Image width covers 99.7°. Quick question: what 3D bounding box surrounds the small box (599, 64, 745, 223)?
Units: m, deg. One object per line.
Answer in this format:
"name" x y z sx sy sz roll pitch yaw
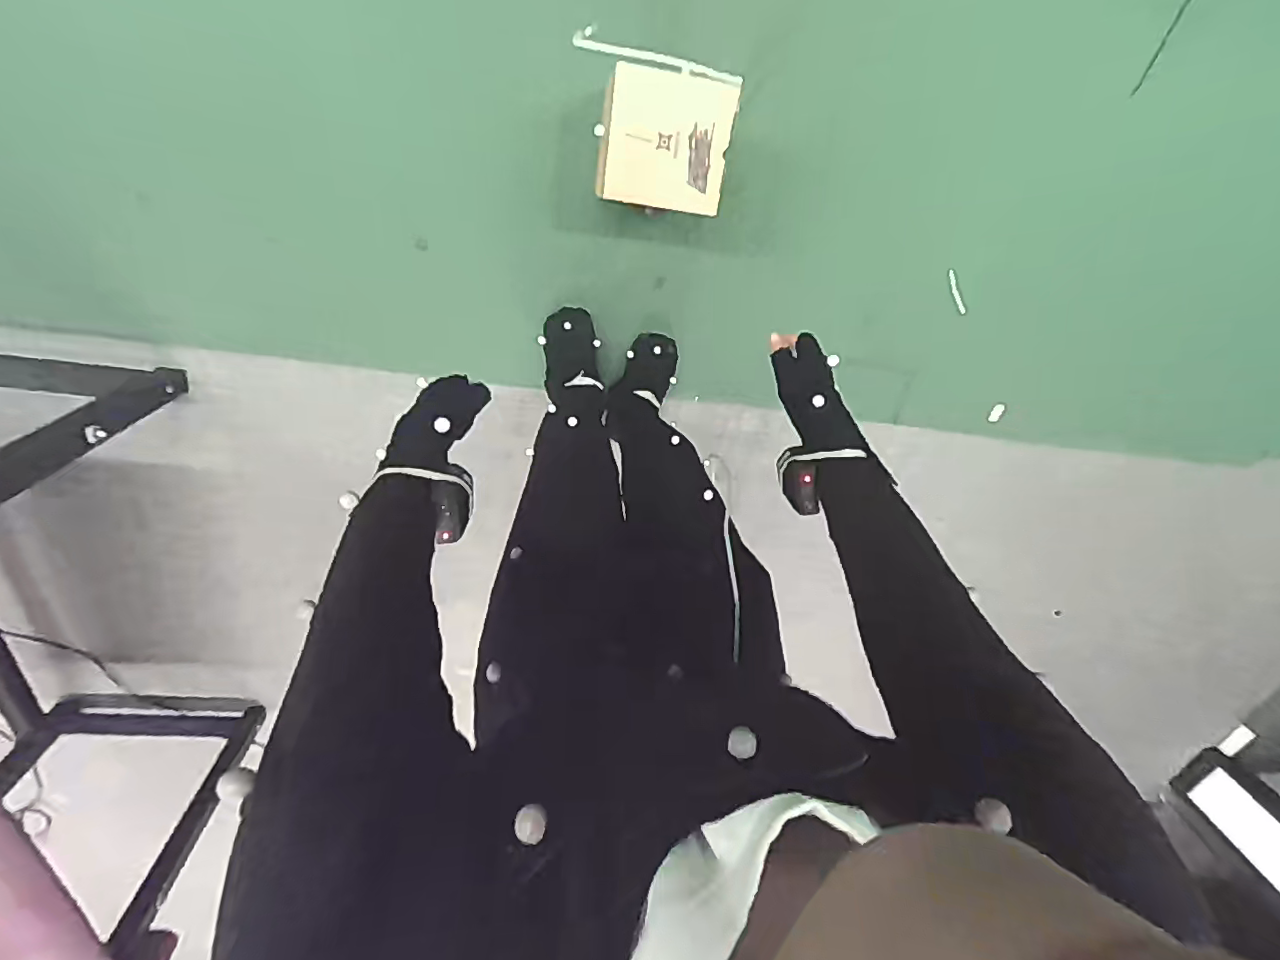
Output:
"small box" 0.038 -0.510 0.838 0.179 0.176 0.168 7 117 -11
